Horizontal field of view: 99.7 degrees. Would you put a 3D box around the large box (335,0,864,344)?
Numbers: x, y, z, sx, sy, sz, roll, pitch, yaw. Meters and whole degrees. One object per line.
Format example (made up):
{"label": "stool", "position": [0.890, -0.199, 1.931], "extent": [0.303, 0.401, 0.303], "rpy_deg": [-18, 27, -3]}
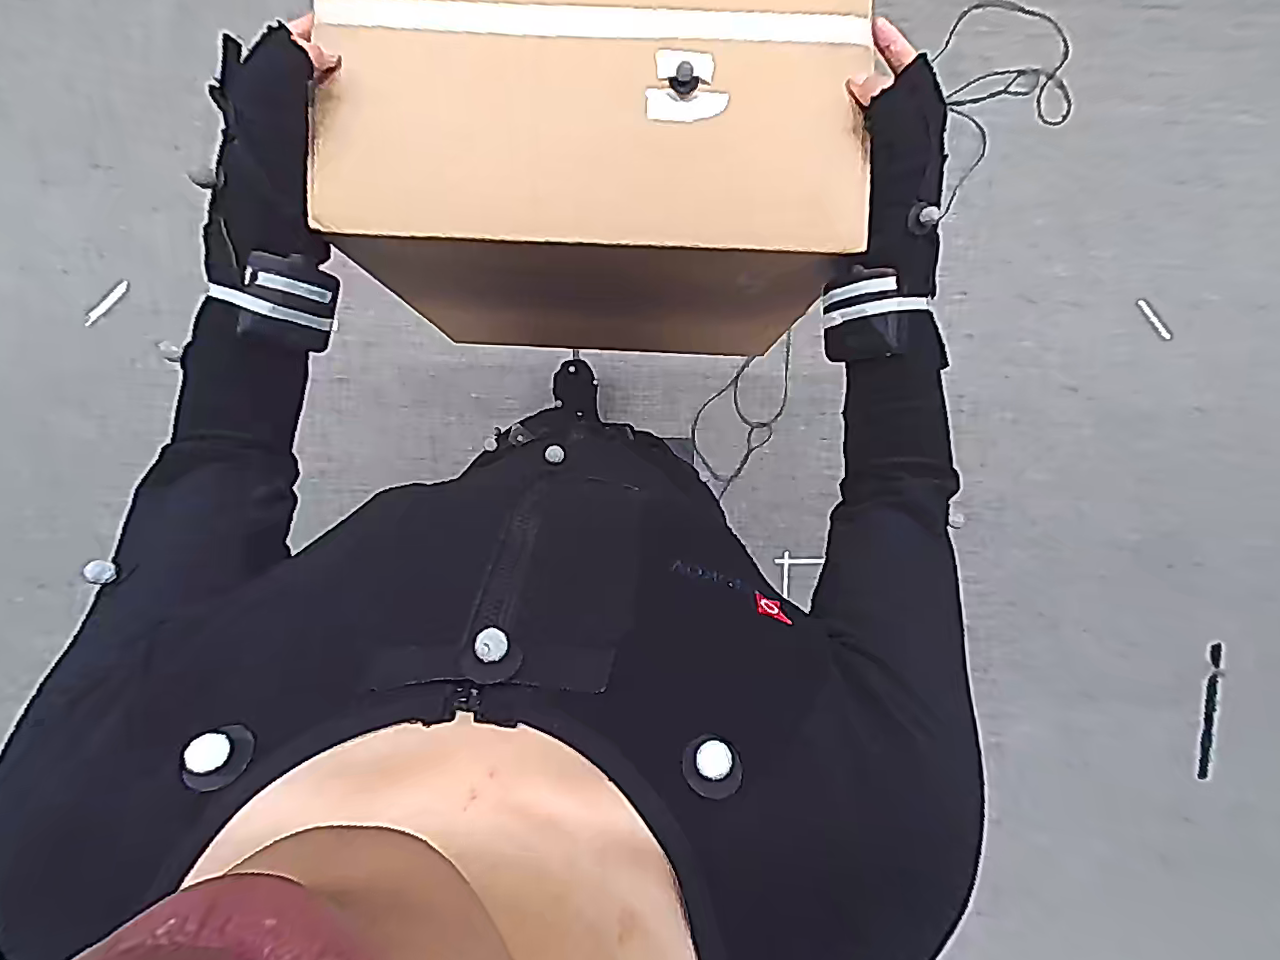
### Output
{"label": "large box", "position": [-0.032, -0.336, 0.559], "extent": [0.408, 0.320, 0.320], "rpy_deg": [2, 90, -1]}

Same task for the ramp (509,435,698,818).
{"label": "ramp", "position": [-0.090, 0.369, 1.457], "extent": [0.509, 0.206, 0.991], "rpy_deg": [-1, 92, 1]}
